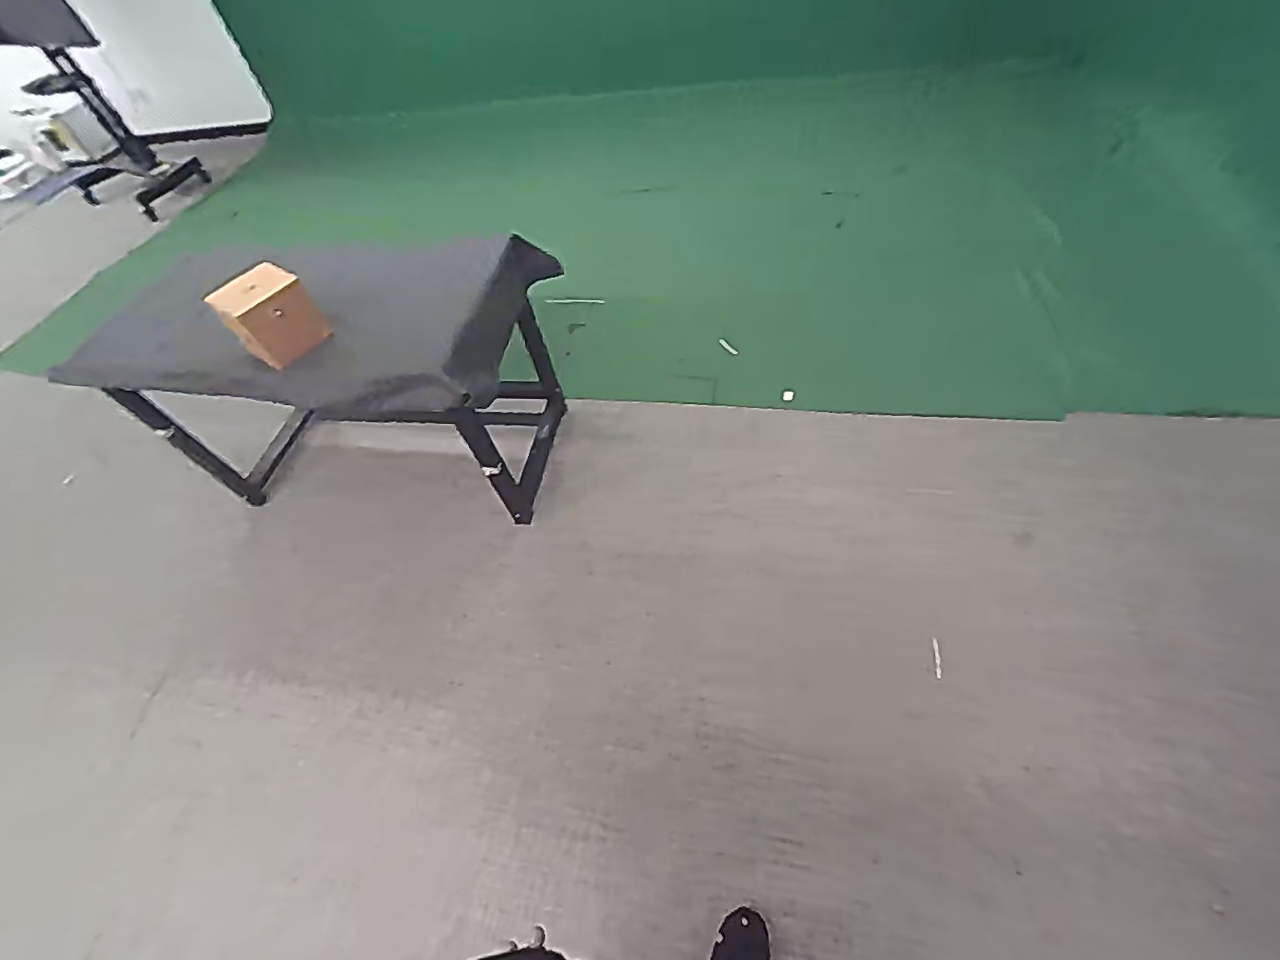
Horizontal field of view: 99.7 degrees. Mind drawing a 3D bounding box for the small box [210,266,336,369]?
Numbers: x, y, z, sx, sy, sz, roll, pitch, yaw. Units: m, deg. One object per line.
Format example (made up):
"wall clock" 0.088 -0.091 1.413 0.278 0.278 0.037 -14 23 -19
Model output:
"small box" -0.933 -0.415 1.391 0.168 0.176 0.179 27 61 25
